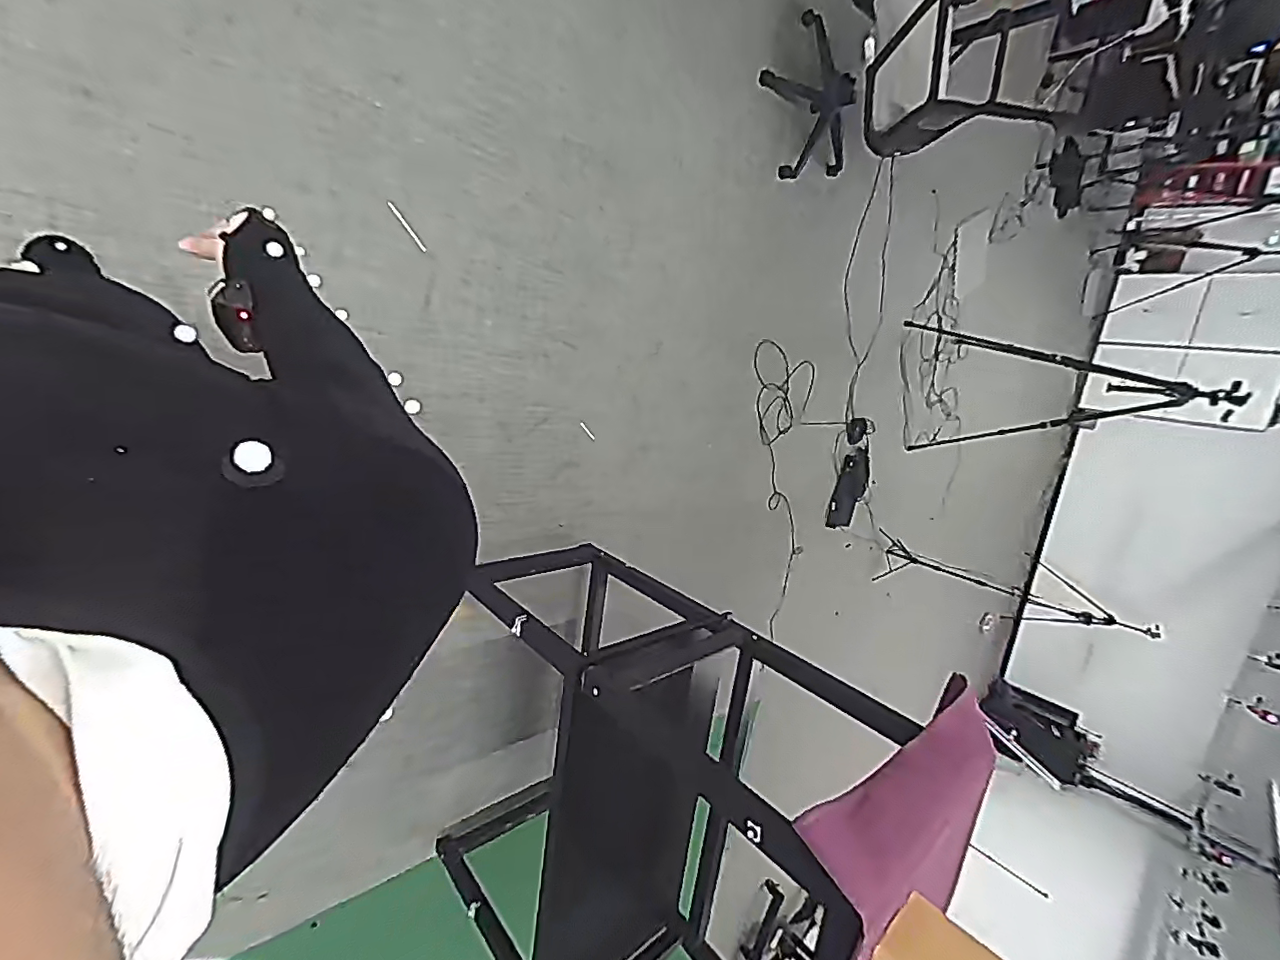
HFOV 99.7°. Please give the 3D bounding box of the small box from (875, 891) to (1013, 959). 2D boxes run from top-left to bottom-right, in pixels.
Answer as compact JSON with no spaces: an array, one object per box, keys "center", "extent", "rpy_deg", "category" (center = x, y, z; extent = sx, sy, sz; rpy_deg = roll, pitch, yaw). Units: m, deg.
[{"center":[0.462,0.810,0.846],"extent":[0.179,0.176,0.168],"rpy_deg":[1,104,-45],"category":"small box"}]
